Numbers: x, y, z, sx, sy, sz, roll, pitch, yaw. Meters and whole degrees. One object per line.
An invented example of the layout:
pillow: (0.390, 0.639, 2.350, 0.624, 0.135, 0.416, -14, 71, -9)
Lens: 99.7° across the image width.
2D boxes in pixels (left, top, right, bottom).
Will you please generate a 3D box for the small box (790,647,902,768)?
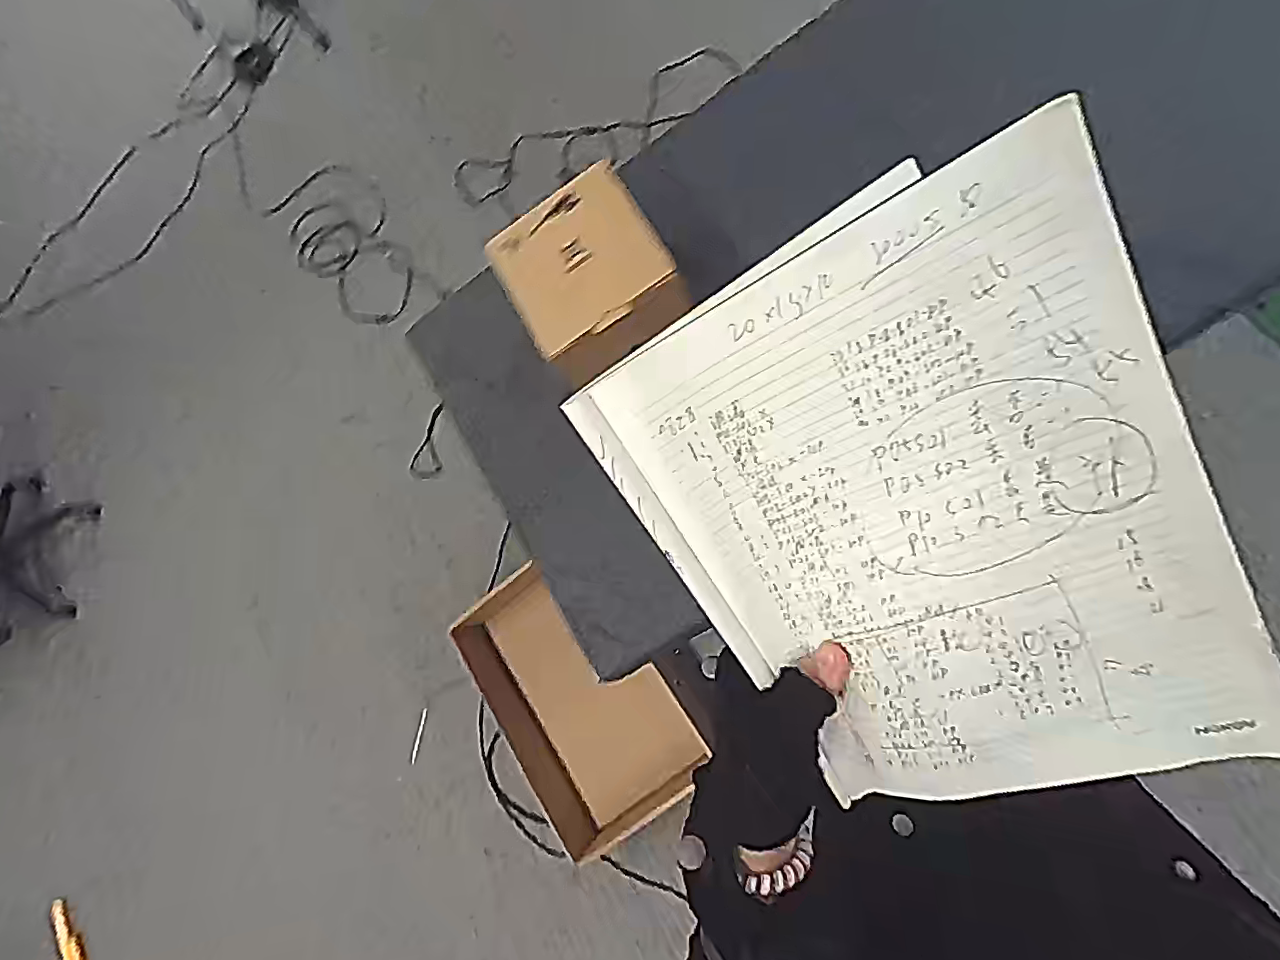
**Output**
small box: (0.447, 0.489, 1.185, 0.179, 0.176, 0.168, 21, 96, 35)
